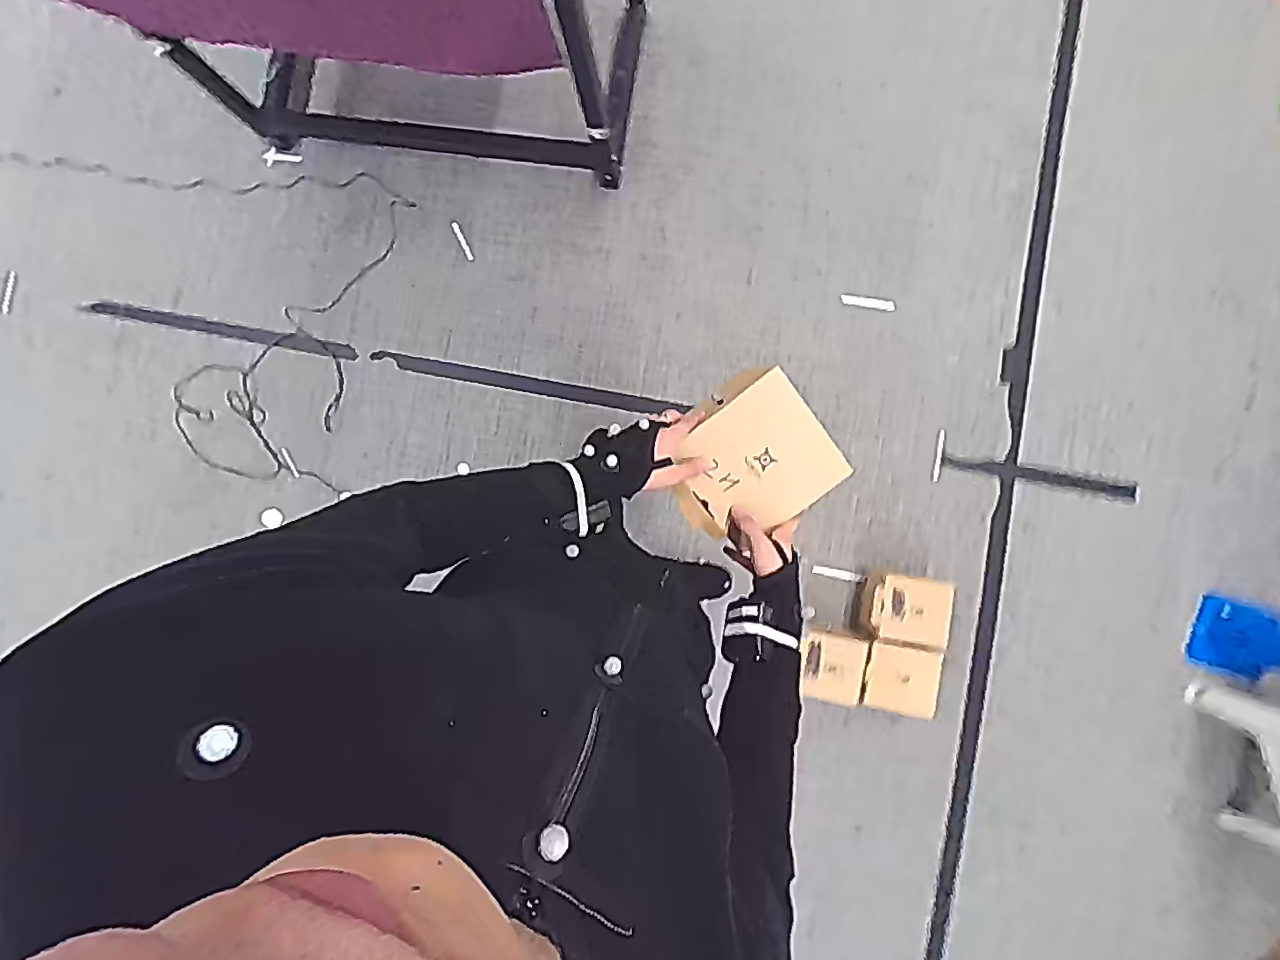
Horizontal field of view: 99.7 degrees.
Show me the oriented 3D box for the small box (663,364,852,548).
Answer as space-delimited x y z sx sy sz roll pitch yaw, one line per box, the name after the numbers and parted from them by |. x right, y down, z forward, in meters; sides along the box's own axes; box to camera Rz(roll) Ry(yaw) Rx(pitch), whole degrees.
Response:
0.145 -0.042 0.739 0.179 0.176 0.168 -38 99 7 | small box
